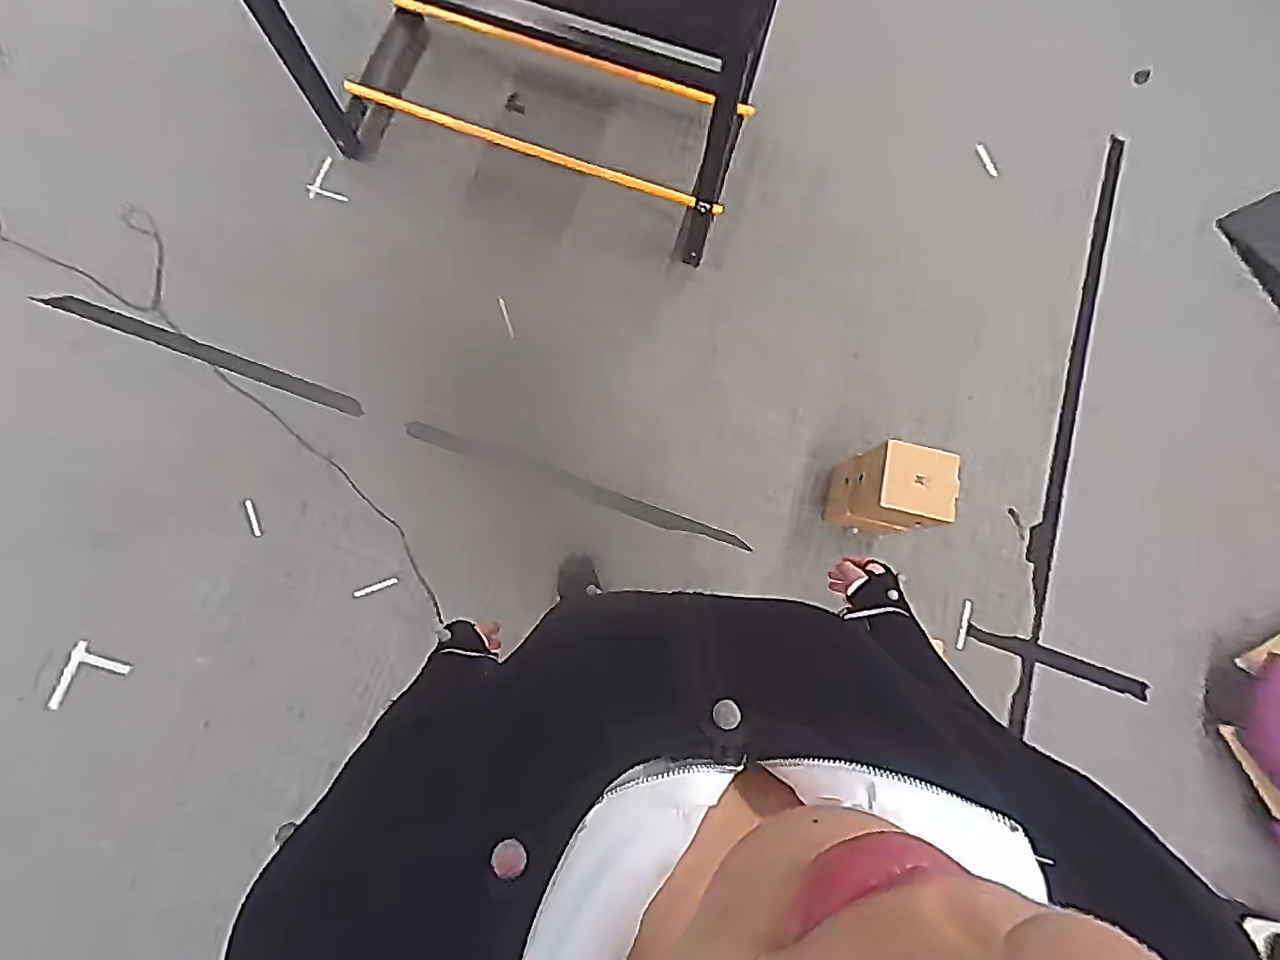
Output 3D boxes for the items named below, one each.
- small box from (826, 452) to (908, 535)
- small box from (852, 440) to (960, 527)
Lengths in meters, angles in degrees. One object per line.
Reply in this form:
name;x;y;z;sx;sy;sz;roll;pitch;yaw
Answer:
small box;0.630;0.043;1.488;0.168;0.176;0.179;16;80;1
small box;0.647;0.016;1.328;0.179;0.176;0.168;12;78;1
